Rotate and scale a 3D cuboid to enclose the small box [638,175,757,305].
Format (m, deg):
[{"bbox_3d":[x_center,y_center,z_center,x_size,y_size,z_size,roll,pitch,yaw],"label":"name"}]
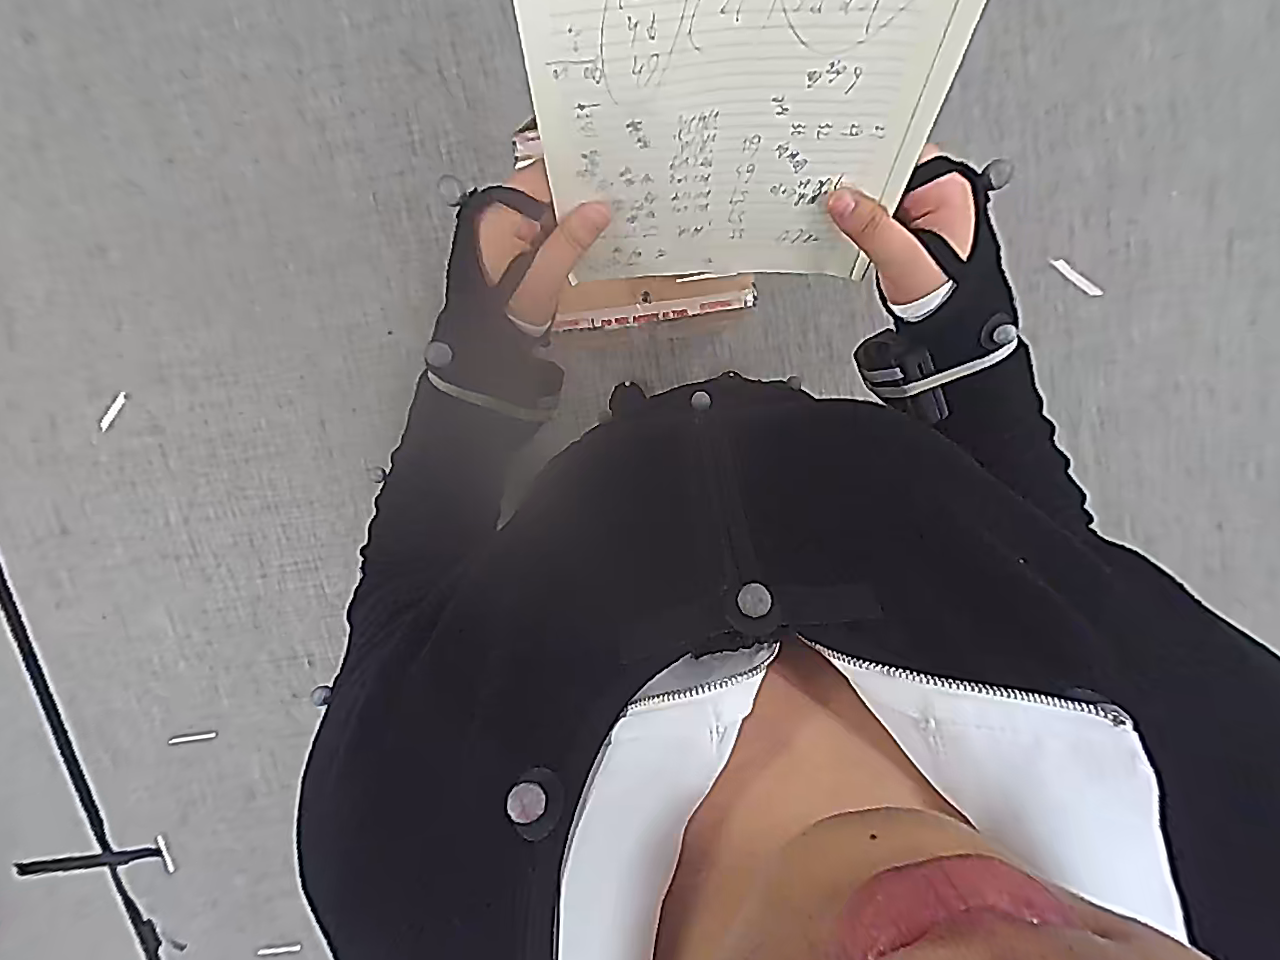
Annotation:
[{"bbox_3d":[0.097,-0.386,0.860,0.179,0.176,0.168,-11,101,2],"label":"small box"}]

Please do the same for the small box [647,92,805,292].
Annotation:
[{"bbox_3d":[0.101,-0.355,0.699,0.168,0.176,0.179,-8,102,1],"label":"small box"}]
